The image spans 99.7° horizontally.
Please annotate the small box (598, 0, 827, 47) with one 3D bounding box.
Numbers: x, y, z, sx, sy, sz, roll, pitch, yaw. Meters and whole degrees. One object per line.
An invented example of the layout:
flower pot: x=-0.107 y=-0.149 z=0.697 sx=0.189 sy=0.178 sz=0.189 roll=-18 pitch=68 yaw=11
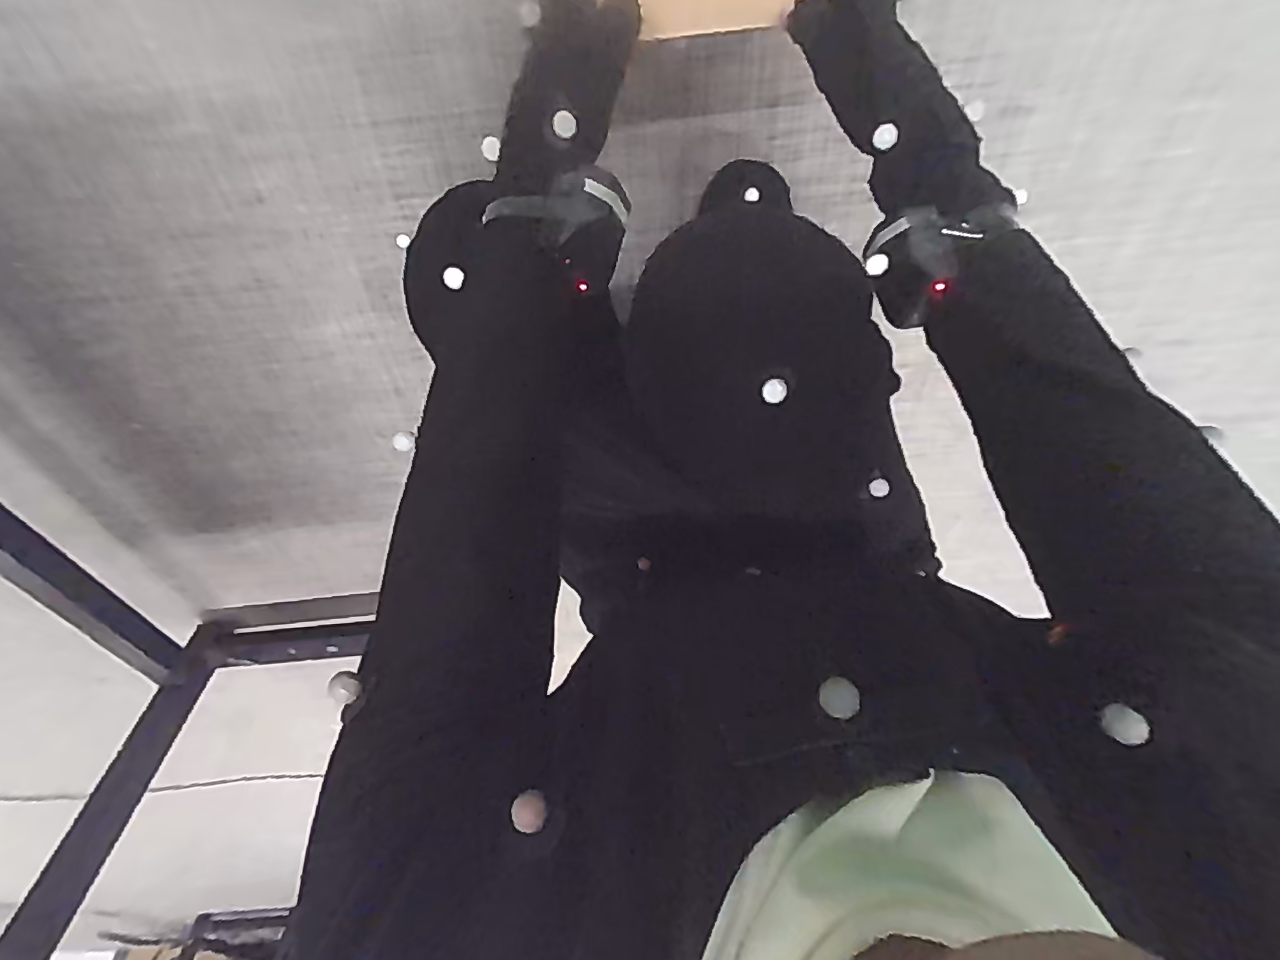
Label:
small box: x=0.045 y=-0.443 z=0.397 sx=0.168 sy=0.176 sz=0.179 roll=-4 pitch=134 yaw=3
